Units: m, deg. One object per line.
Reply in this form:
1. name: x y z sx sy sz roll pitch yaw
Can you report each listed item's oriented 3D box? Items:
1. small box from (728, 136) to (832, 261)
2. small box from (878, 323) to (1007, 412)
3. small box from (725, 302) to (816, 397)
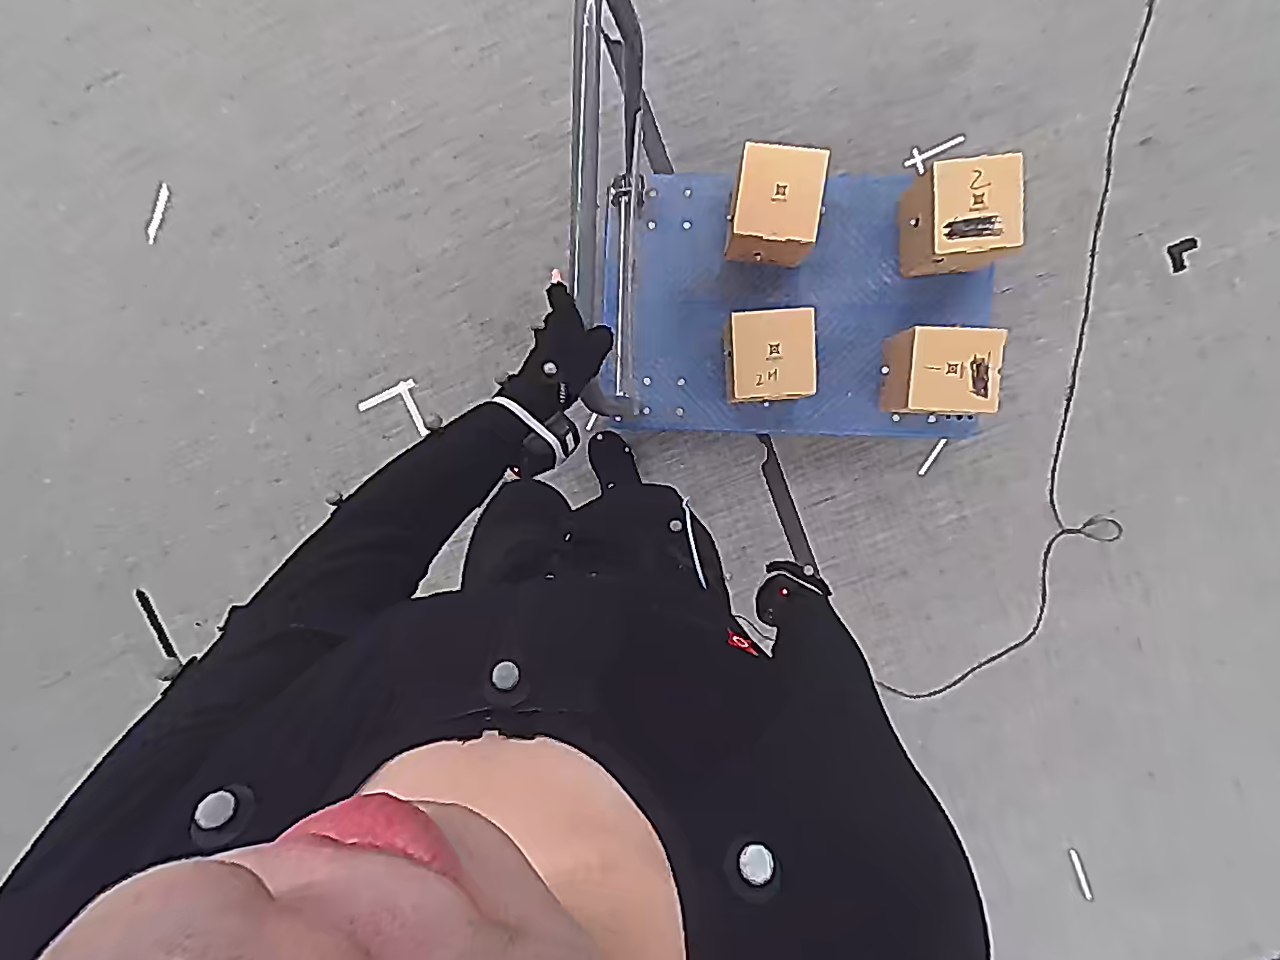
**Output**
1. small box: 0.283 -0.579 1.130 0.168 0.176 0.179 8 98 2
2. small box: 0.631 -0.233 1.147 0.179 0.176 0.168 4 96 4
3. small box: 0.275 -0.274 1.165 0.168 0.176 0.179 -2 97 4
